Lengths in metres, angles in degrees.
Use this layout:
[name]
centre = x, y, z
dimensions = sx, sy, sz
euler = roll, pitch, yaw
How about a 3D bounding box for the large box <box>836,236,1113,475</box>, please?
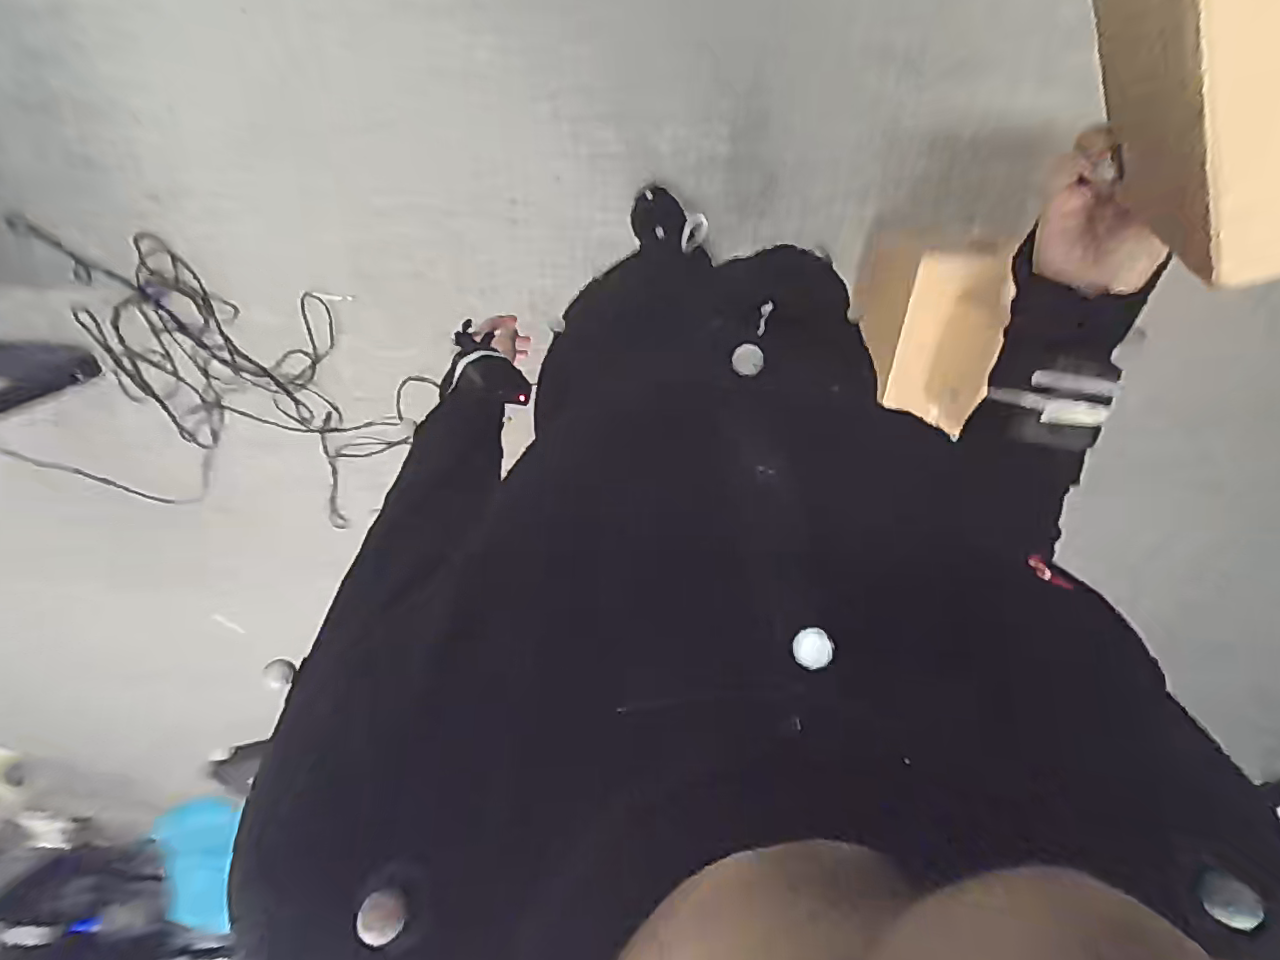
[large box]
centre = 0.625, -0.262, 1.108
dimensions = 0.320, 0.320, 0.408
euler = 3, 123, 4
